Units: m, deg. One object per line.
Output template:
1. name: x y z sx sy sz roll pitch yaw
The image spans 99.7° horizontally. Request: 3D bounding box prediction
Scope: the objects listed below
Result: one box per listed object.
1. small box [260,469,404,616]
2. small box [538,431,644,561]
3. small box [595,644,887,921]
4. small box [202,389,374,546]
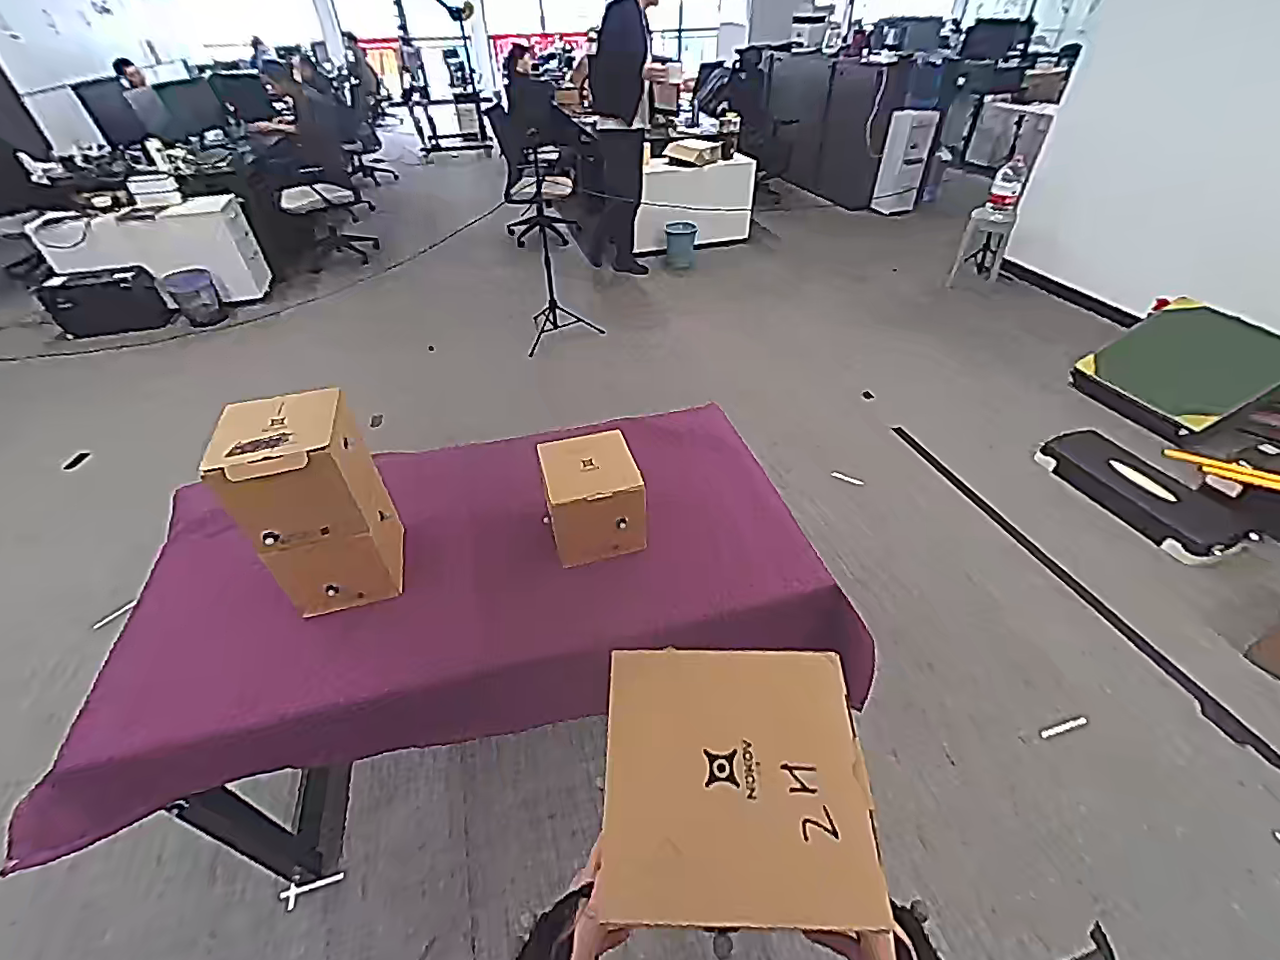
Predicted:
1. small box: -0.529 0.108 0.958 0.168 0.176 0.179 -12 43 -12
2. small box: -0.091 0.035 1.027 0.168 0.176 0.179 -11 42 -12
3. small box: 0.065 0.242 0.431 0.179 0.176 0.168 0 52 2
4. small box: -0.532 -0.015 0.850 0.168 0.176 0.179 -13 43 -13
